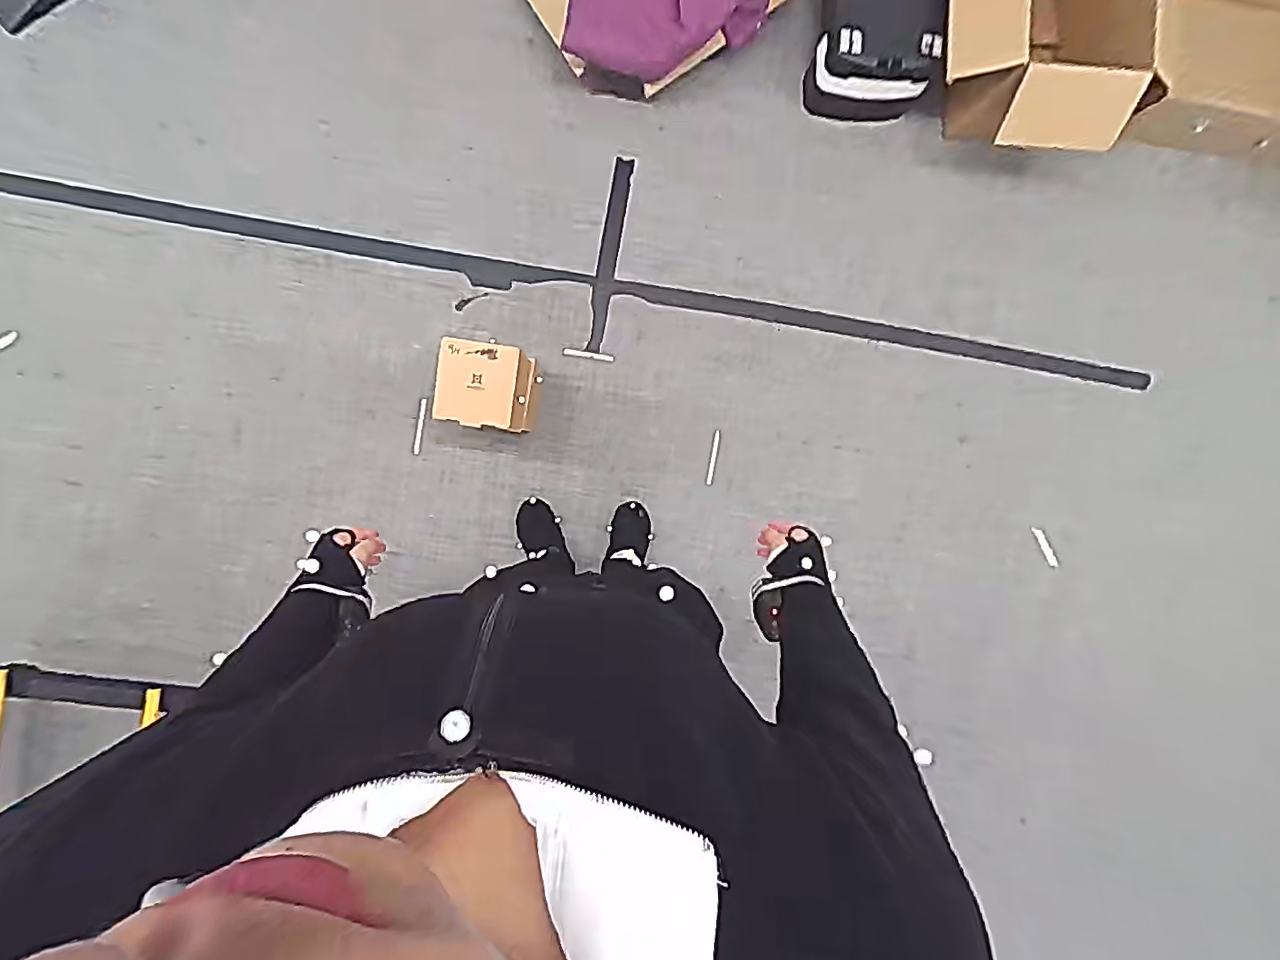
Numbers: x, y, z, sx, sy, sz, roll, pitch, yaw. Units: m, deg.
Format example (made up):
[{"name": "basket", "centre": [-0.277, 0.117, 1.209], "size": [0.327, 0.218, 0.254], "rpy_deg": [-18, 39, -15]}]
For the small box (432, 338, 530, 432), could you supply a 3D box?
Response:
[{"name": "small box", "centre": [-0.349, -0.205, 1.219], "size": [0.168, 0.176, 0.179], "rpy_deg": [9, 93, -3]}]

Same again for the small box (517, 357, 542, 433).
[{"name": "small box", "centre": [-0.350, -0.222, 1.382], "size": [0.168, 0.176, 0.179], "rpy_deg": [11, 92, -3]}]
